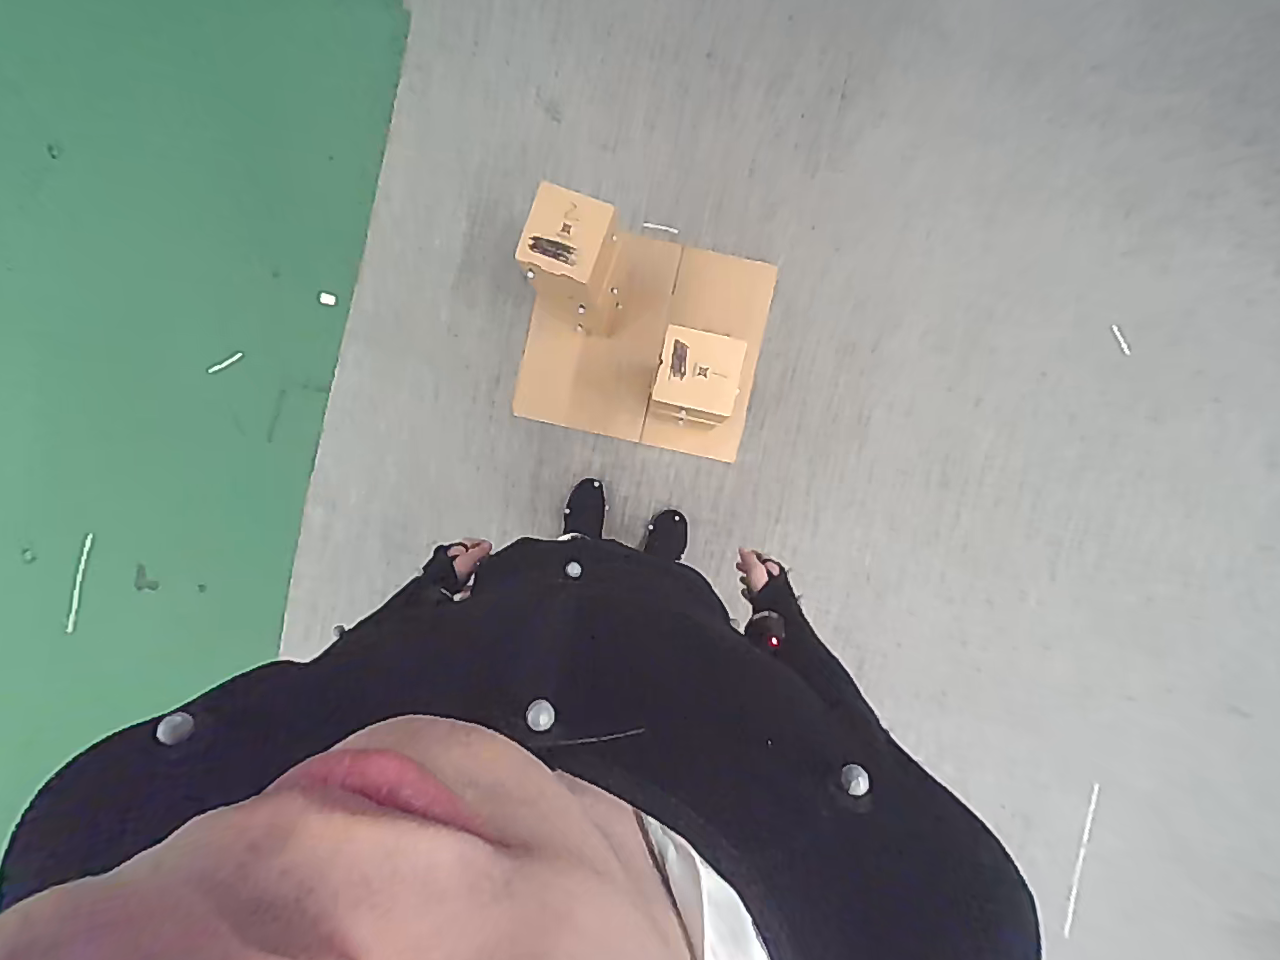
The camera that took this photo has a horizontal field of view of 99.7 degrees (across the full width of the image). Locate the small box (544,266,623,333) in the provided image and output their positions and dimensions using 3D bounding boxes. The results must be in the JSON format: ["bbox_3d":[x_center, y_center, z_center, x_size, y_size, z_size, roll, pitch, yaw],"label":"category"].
[{"bbox_3d":[-0.155,-0.534,1.539,0.179,0.176,0.168,21,91,0],"label":"small box"}]

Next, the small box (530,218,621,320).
[{"bbox_3d":[-0.156,-0.525,1.374,0.179,0.176,0.168,20,90,1],"label":"small box"}]

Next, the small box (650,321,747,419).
[{"bbox_3d":[0.125,-0.238,1.214,0.179,0.176,0.168,13,92,1],"label":"small box"}]

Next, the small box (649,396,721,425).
[{"bbox_3d":[0.126,-0.237,1.379,0.179,0.176,0.168,12,92,2],"label":"small box"}]
